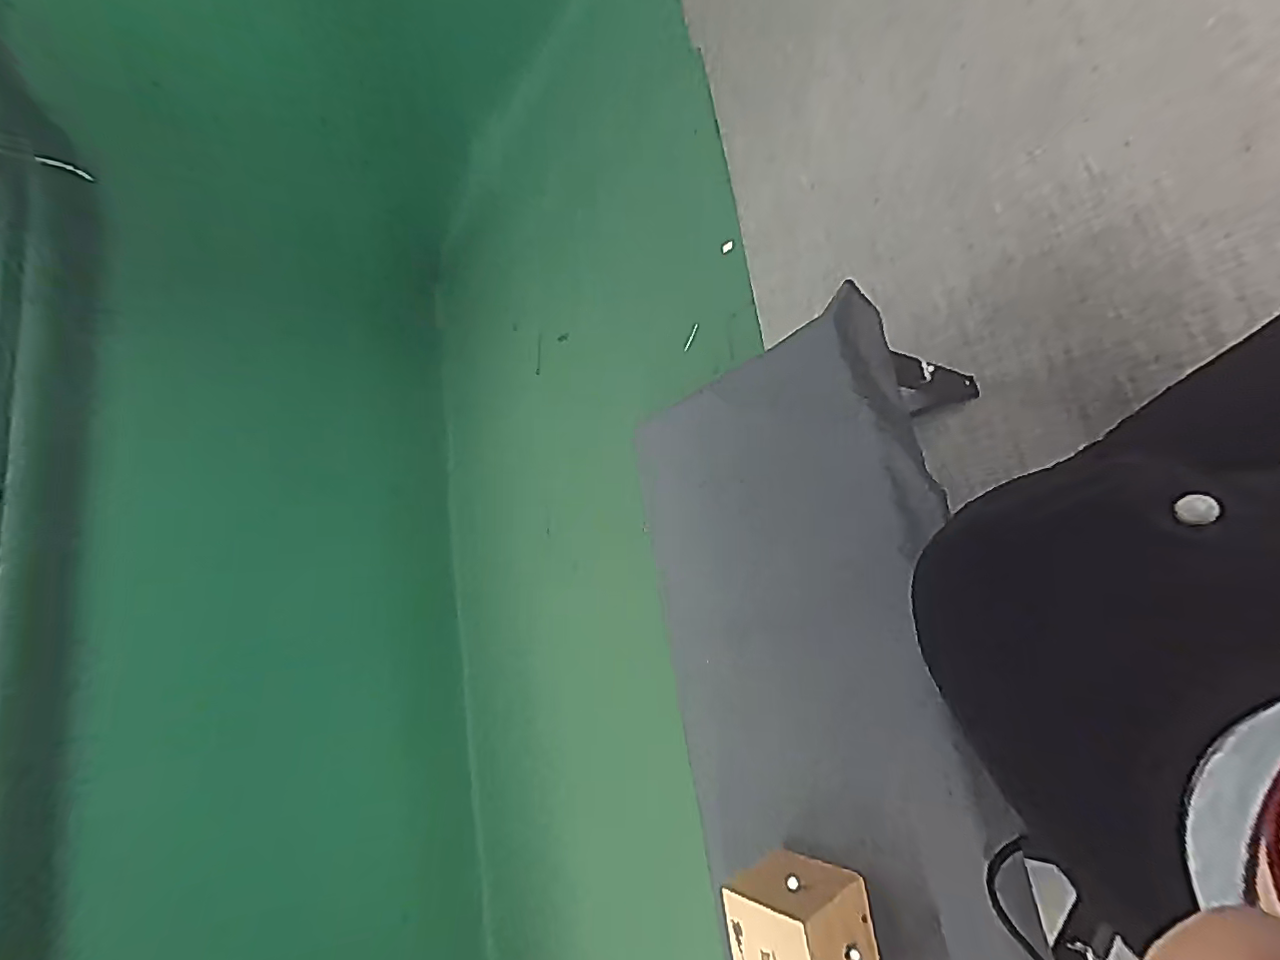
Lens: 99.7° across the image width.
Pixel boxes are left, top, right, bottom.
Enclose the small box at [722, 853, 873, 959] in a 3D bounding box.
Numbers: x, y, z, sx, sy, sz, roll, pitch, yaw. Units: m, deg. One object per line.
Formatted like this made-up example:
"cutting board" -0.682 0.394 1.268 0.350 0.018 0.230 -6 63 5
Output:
"small box" 0.268 0.763 0.906 0.179 0.176 0.168 -22 72 47
